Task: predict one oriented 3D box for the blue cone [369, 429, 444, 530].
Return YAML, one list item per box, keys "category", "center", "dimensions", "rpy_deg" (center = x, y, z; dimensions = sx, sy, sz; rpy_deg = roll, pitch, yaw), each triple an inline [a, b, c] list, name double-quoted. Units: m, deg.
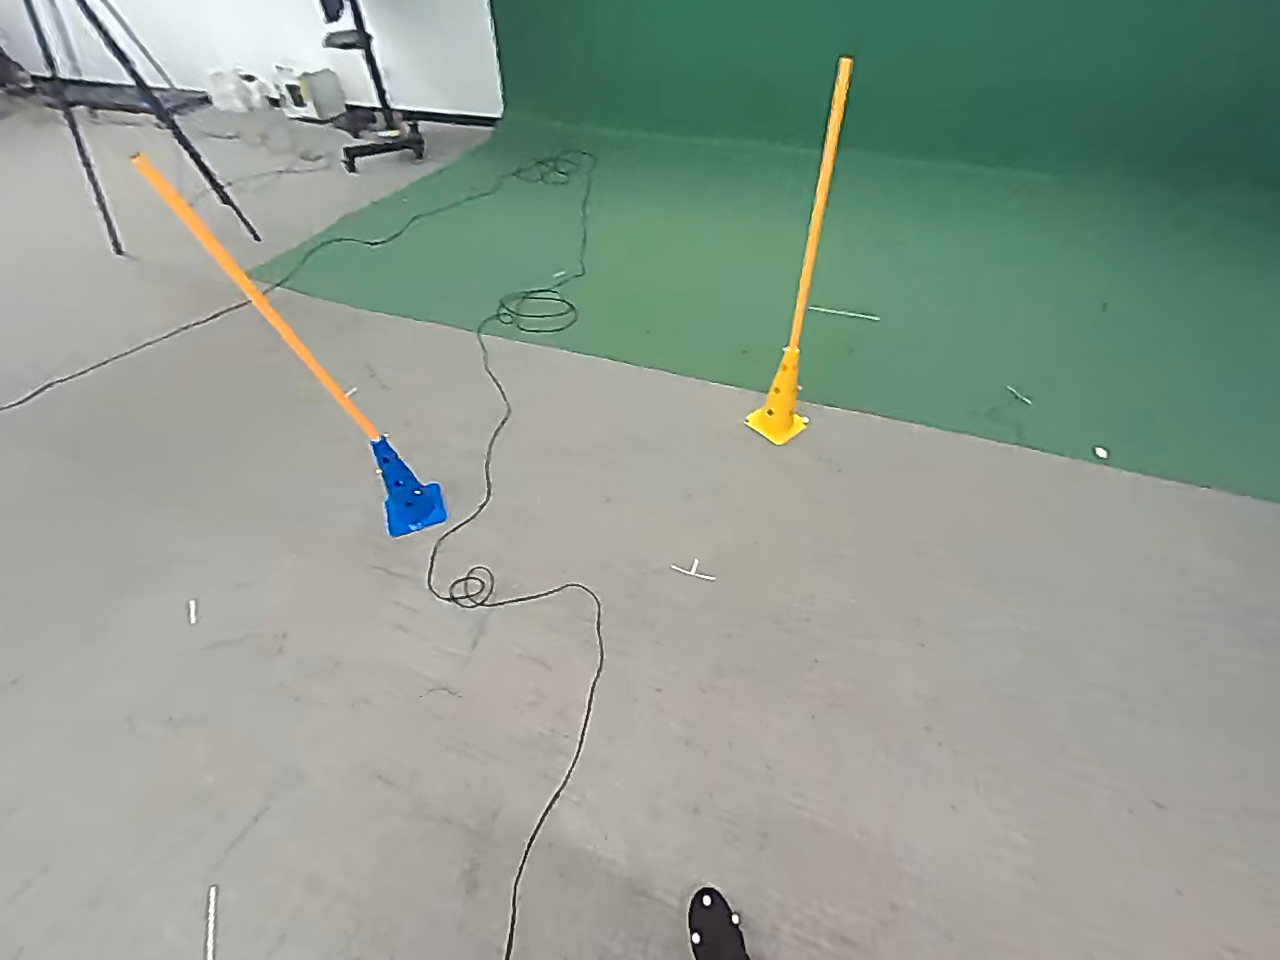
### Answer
- category: "blue cone"
  center: [-0.810, -0.019, 1.805]
  dimensions: [0.193, 0.380, 0.192]
  rpy_deg: [-20, 51, -14]
